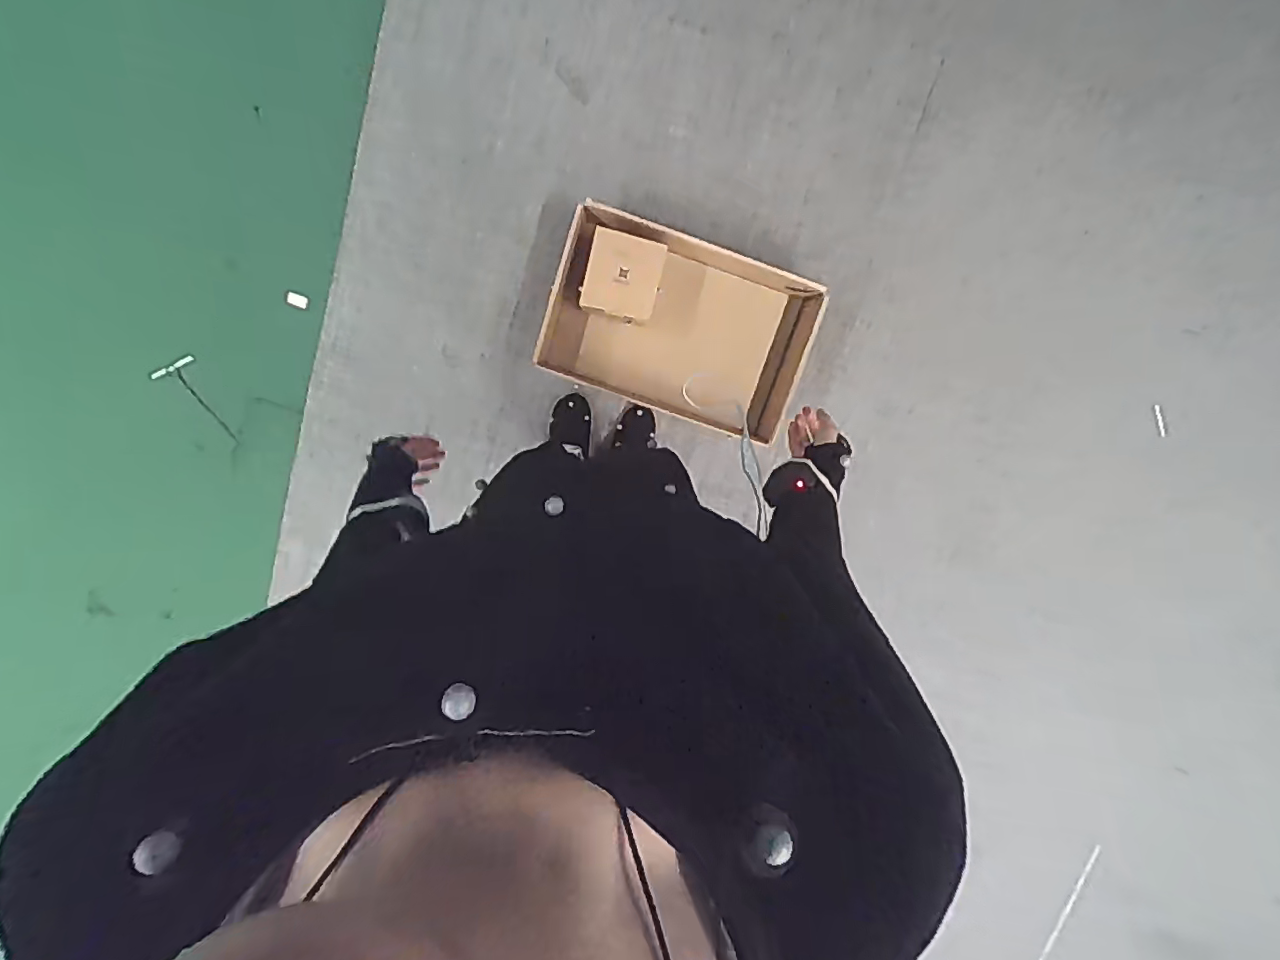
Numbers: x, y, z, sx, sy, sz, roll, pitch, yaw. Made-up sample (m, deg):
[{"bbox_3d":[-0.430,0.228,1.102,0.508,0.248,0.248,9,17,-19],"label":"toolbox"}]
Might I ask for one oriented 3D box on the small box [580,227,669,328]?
[{"bbox_3d":[-0.036,-0.469,1.283,0.168,0.176,0.179,15,101,-5],"label":"small box"}]
